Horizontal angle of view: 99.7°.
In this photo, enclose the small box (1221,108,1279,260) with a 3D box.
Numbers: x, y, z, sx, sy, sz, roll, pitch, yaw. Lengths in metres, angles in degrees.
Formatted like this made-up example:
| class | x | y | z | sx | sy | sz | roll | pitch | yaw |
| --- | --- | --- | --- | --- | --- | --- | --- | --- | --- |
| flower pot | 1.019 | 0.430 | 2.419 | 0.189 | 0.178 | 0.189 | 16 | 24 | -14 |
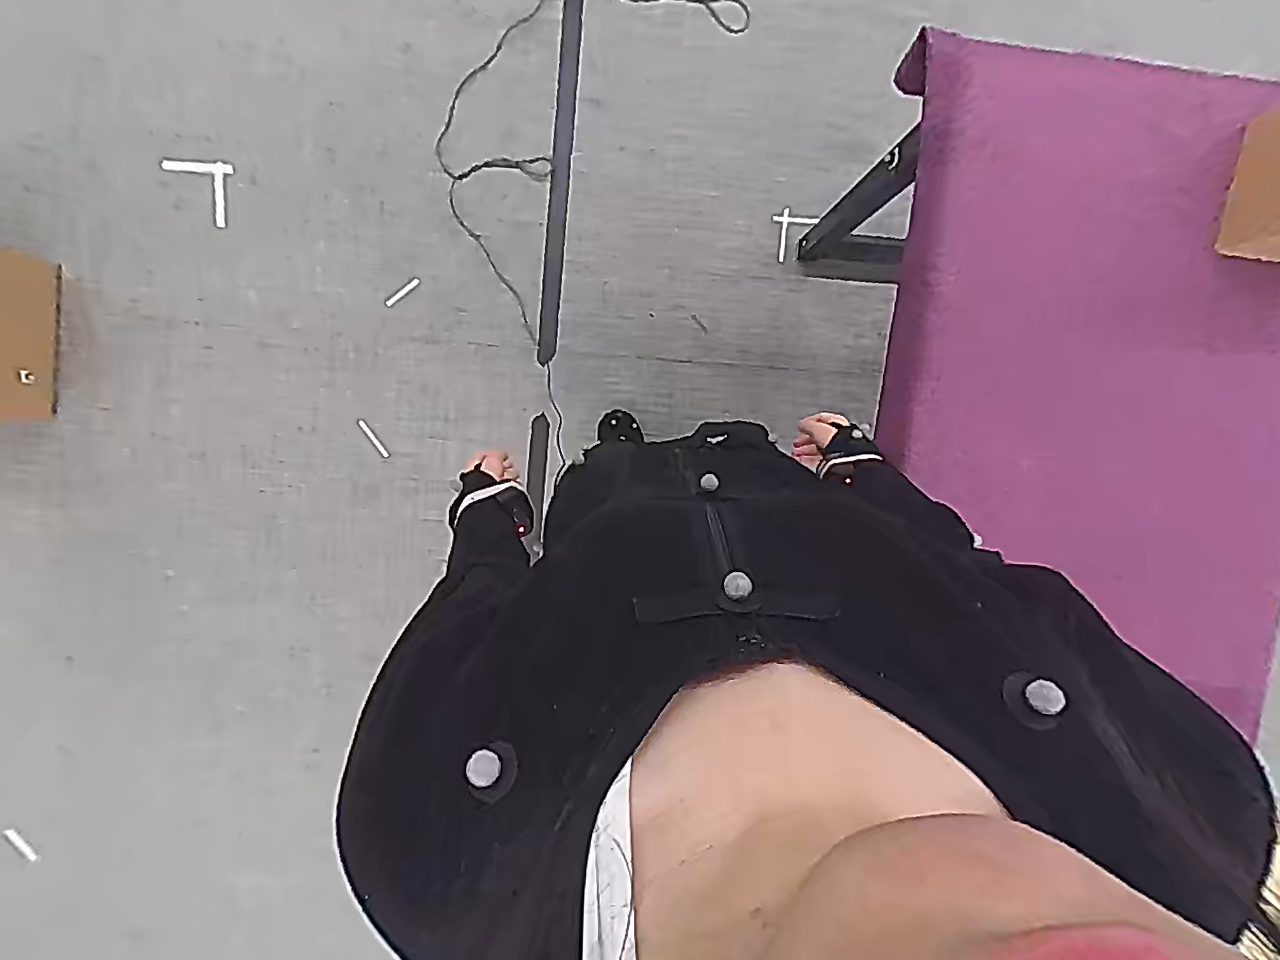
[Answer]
| class | x | y | z | sx | sy | sz | roll | pitch | yaw |
| --- | --- | --- | --- | --- | --- | --- | --- | --- | --- |
| small box | 0.898 | -0.388 | 0.671 | 0.168 | 0.176 | 0.179 | 7 | 98 | -1 |
